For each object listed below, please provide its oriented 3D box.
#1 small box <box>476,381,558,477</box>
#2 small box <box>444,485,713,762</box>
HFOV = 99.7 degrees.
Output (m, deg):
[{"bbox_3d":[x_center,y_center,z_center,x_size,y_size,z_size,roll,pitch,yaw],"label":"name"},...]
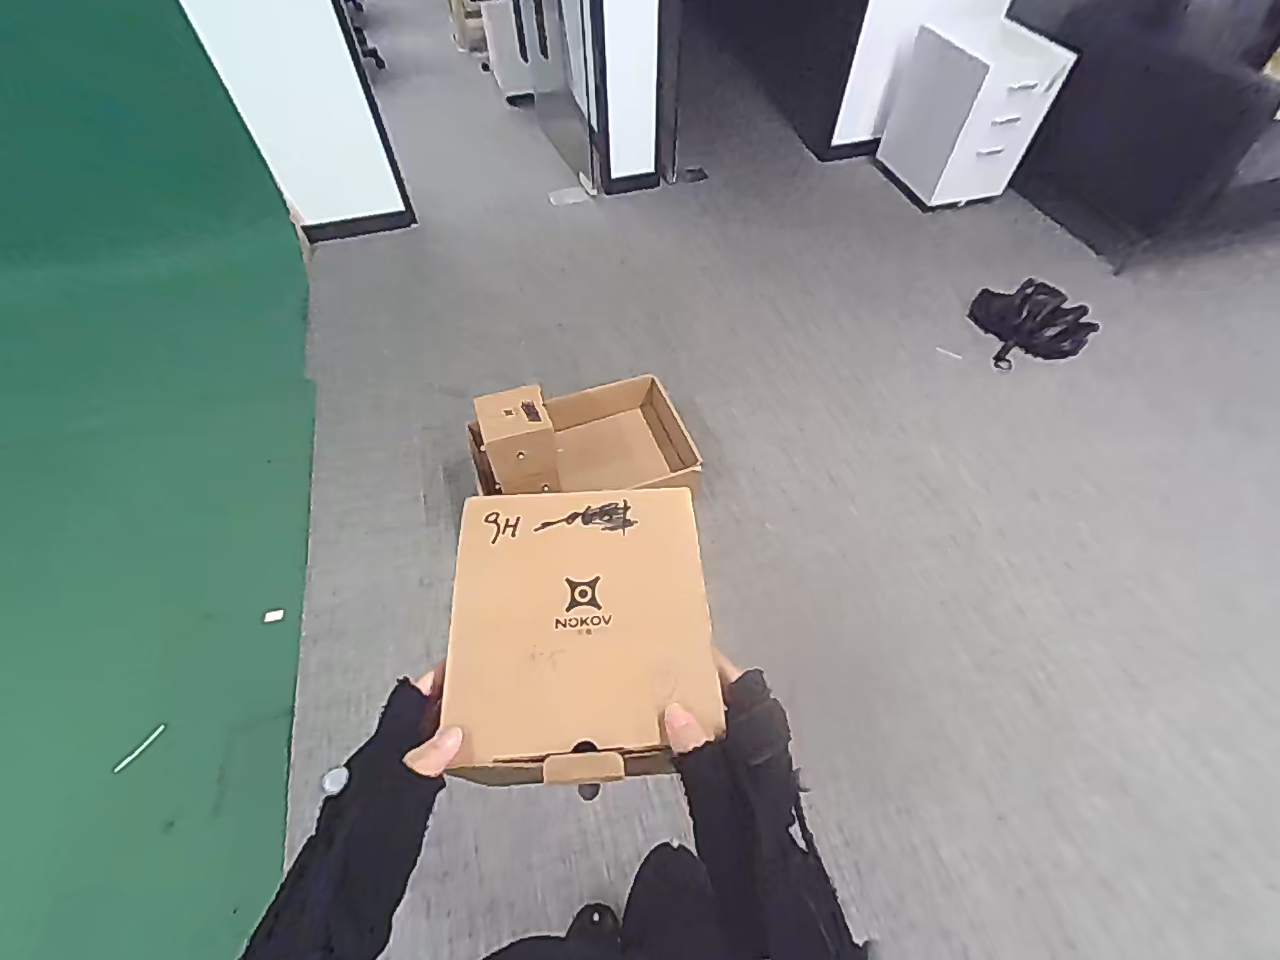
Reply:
[{"bbox_3d":[-0.324,-0.135,1.455,0.179,0.176,0.168,-16,57,-11],"label":"small box"},{"bbox_3d":[-0.043,0.122,0.432,0.168,0.176,0.179,-3,59,-4],"label":"small box"}]
